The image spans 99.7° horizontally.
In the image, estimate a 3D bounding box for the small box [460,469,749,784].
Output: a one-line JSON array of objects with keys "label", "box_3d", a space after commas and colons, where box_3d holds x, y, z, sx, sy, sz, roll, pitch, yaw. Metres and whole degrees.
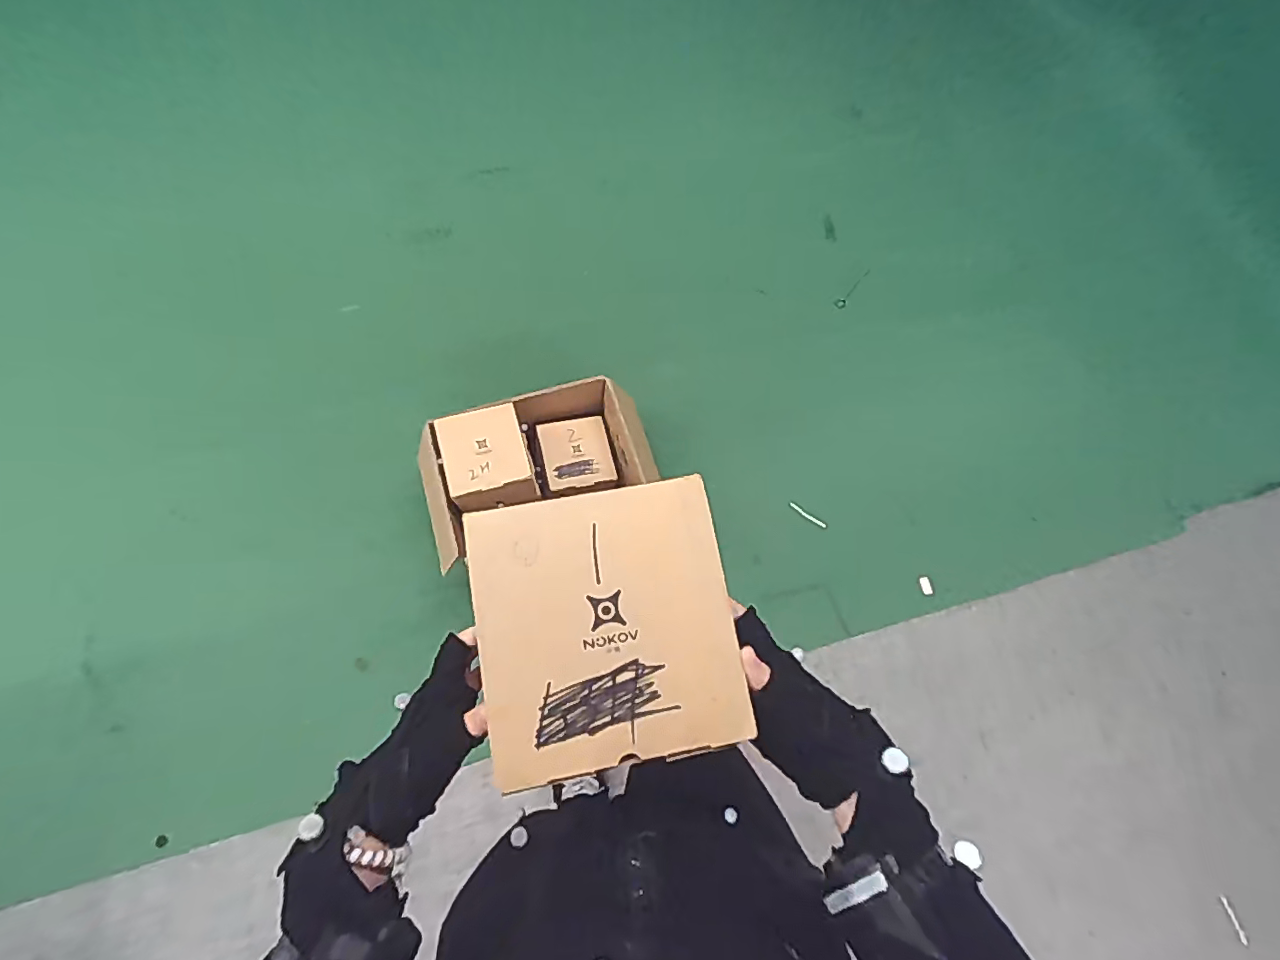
[{"label": "small box", "box_3d": [-0.029, 0.103, 0.427, 0.168, 0.176, 0.179, -10, 79, -6]}]
